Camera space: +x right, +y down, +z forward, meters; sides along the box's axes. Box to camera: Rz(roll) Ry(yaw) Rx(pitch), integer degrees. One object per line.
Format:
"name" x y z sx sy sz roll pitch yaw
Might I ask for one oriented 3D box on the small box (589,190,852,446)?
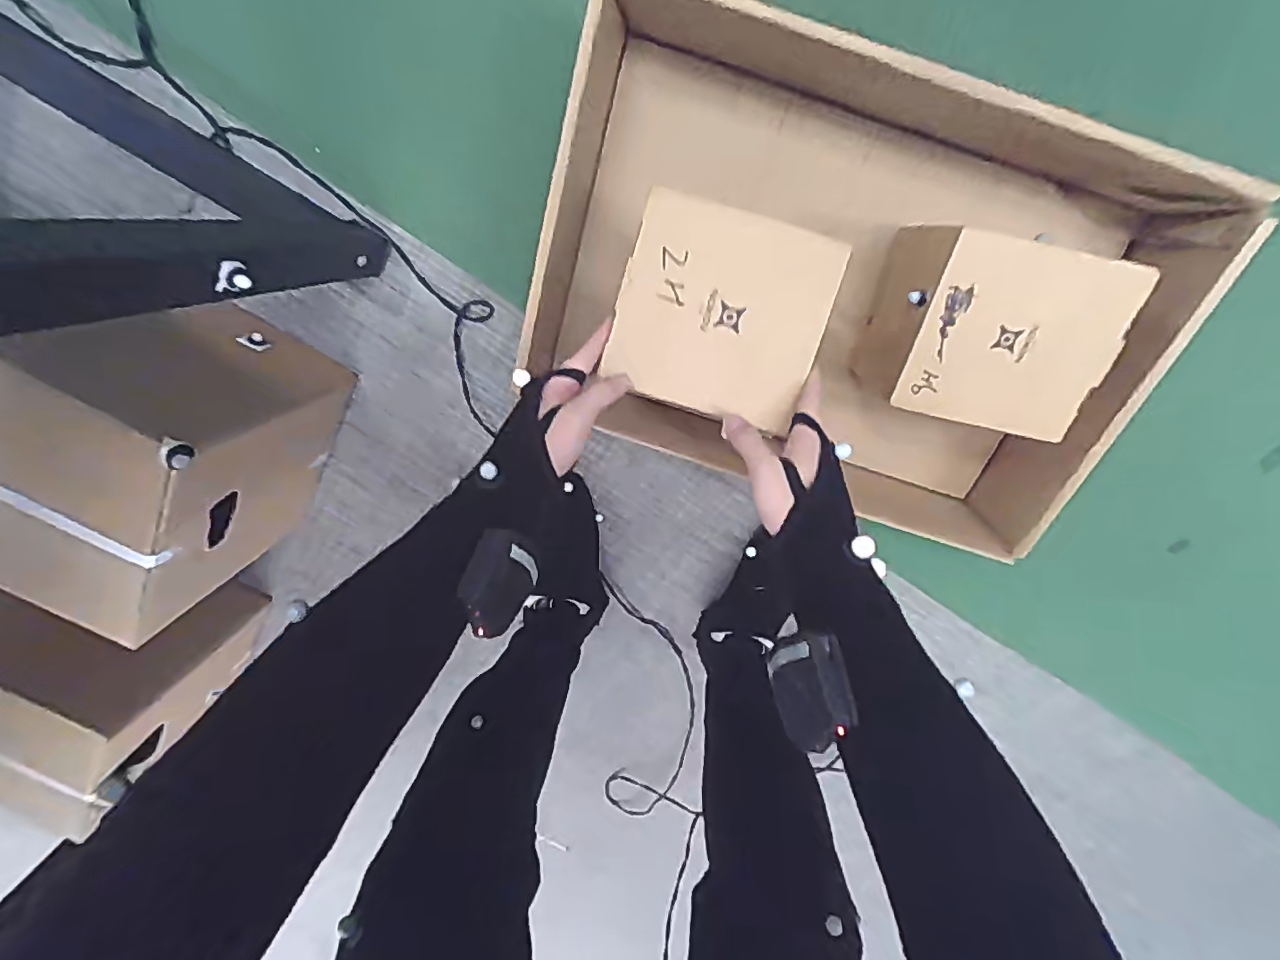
"small box" 0.069 -0.141 0.520 0.179 0.176 0.168 18 98 2

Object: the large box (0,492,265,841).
"large box" -0.943 0.292 0.894 0.408 0.320 0.320 33 113 -8
